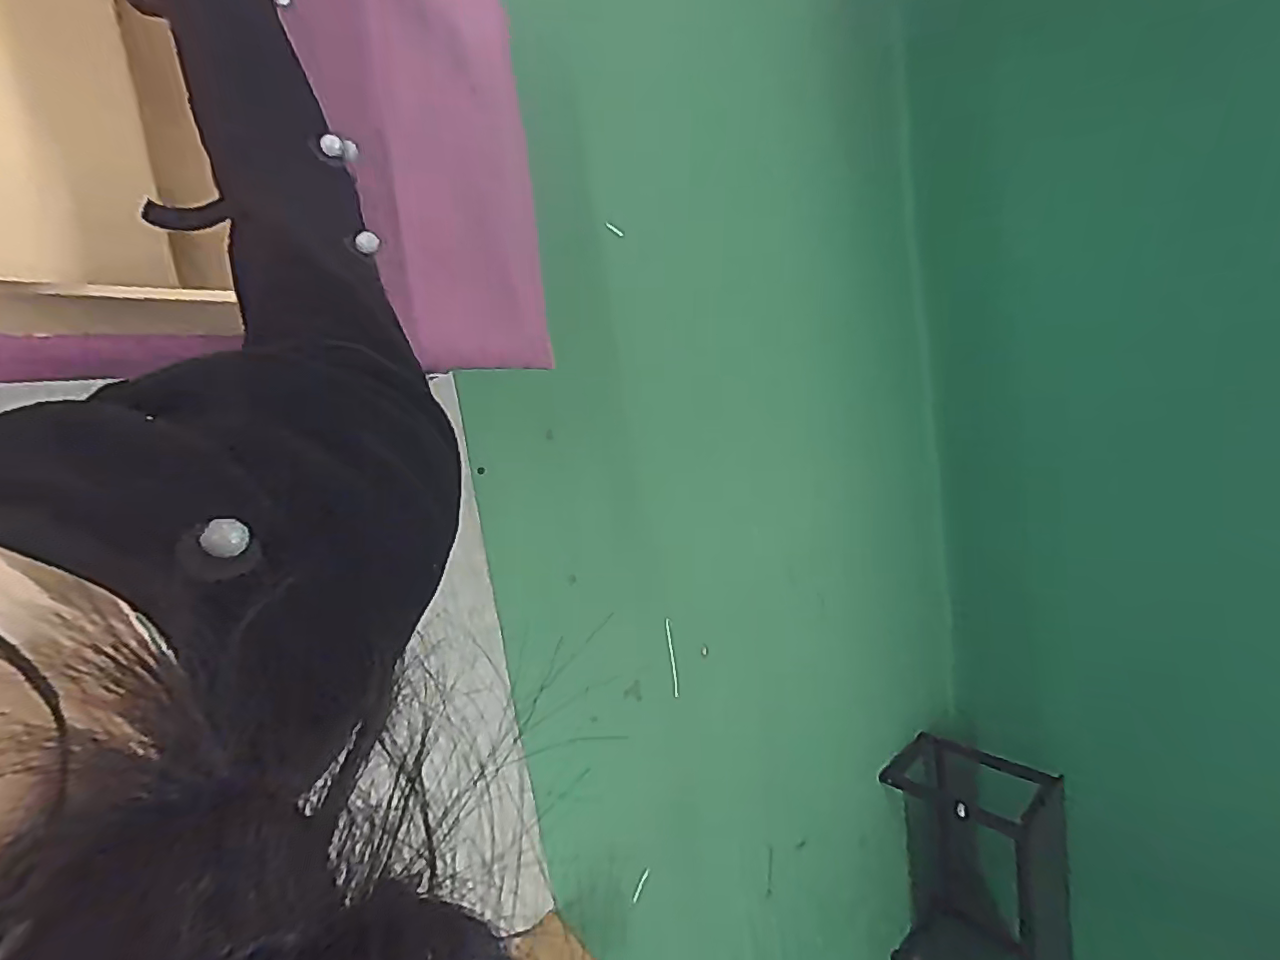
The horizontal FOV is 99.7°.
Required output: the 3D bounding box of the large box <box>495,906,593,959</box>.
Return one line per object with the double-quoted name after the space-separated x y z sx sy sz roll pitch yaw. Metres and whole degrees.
-0.304 1.598 1.570 0.408 0.320 0.320 -31 110 -36 "large box"
